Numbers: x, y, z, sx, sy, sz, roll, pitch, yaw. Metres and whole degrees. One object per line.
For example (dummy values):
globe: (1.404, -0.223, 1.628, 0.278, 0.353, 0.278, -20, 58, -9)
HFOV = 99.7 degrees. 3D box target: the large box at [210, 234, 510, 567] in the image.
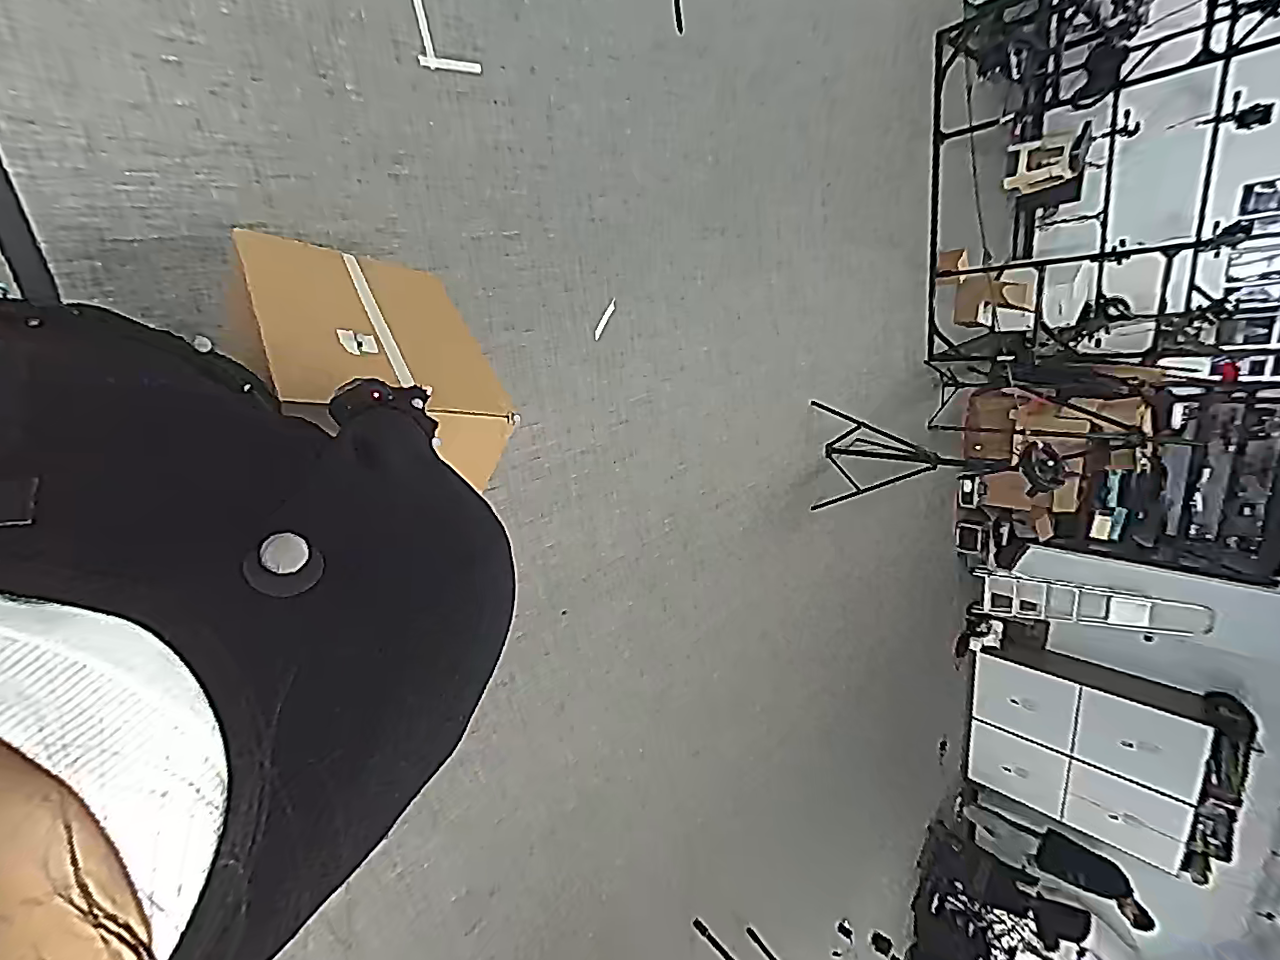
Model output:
large box: (-0.478, -0.121, 0.888, 0.320, 0.408, 0.320, -3, 139, -44)
